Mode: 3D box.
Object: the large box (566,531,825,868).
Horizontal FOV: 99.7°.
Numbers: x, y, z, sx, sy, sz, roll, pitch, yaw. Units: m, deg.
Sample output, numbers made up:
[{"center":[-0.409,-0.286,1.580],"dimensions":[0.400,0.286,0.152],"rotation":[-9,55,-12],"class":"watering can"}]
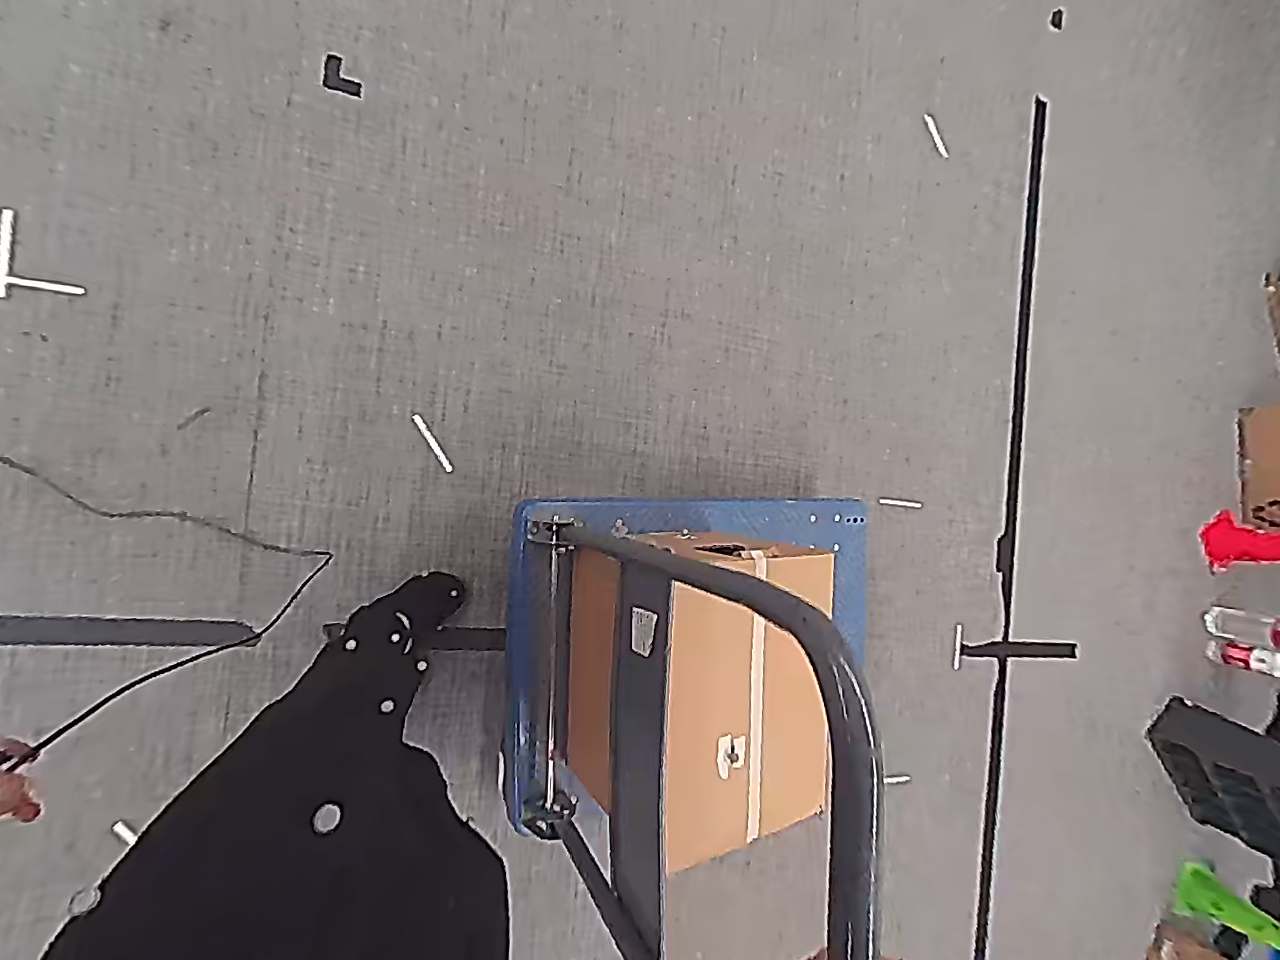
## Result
[{"center":[0.078,0.304,0.899],"dimensions":[0.320,0.320,0.408],"rotation":[2,91,-30],"class":"large box"}]
